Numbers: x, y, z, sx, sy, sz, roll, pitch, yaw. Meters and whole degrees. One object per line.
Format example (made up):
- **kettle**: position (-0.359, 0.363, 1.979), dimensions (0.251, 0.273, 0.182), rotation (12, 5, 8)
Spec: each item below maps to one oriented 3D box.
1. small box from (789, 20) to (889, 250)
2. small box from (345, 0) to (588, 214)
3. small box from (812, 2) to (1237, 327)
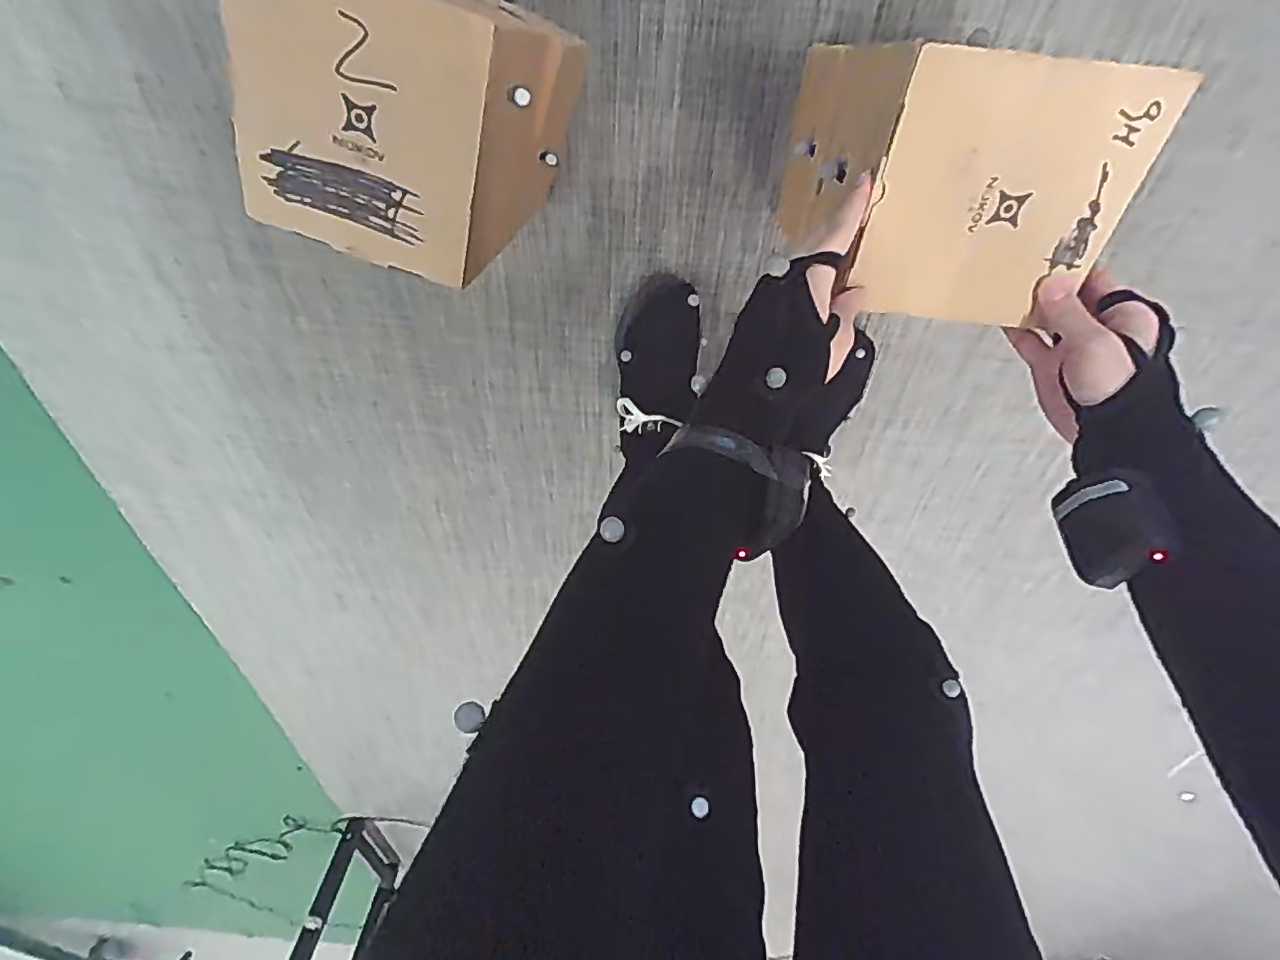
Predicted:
- **small box**: position (0.255, -0.337, 0.543), dimensions (0.168, 0.176, 0.179), rotation (7, 129, 1)
- **small box**: position (-0.161, -0.403, 0.534), dimensions (0.168, 0.176, 0.179), rotation (22, 127, -12)
- **small box**: position (0.248, -0.239, 0.414), dimensions (0.179, 0.176, 0.168), rotation (8, 129, -1)
